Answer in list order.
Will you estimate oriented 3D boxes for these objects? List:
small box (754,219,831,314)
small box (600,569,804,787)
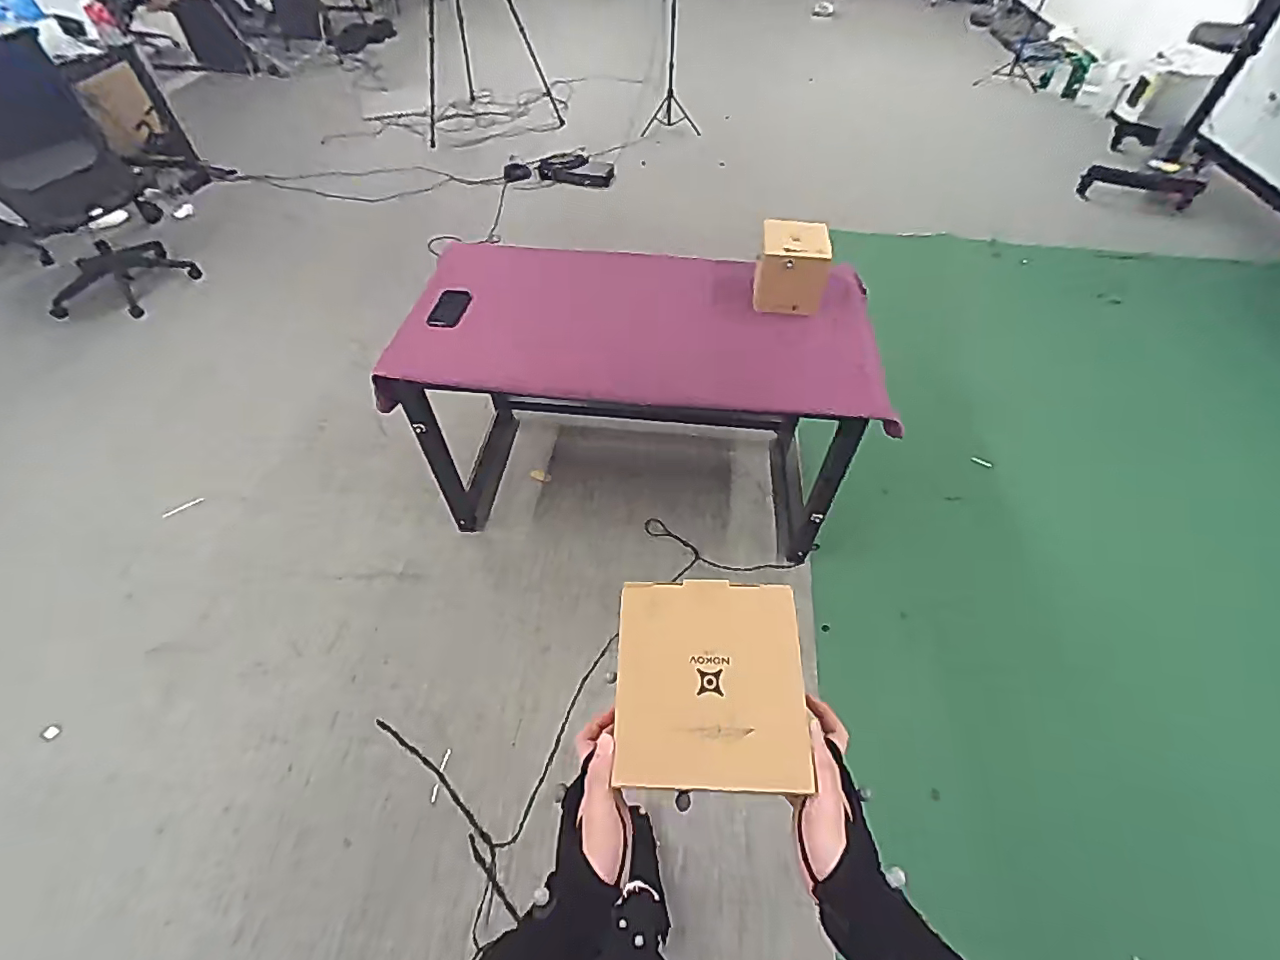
[{"bbox_3d":[0.396,-0.564,1.432,0.168,0.176,0.179,5,51,5],"label":"small box"},{"bbox_3d":[0.054,0.202,0.540,0.168,0.176,0.179,0,60,3],"label":"small box"}]
